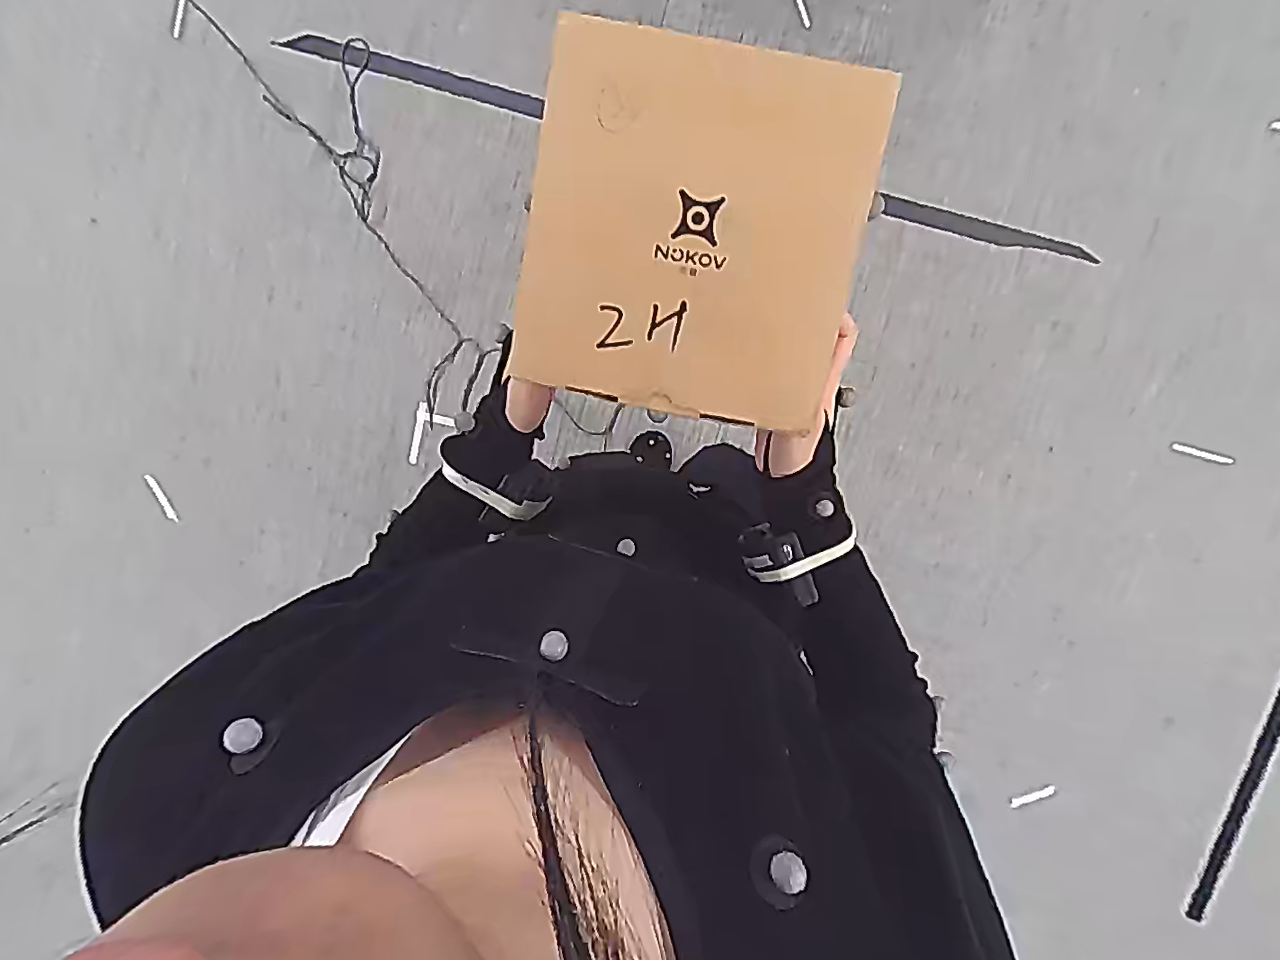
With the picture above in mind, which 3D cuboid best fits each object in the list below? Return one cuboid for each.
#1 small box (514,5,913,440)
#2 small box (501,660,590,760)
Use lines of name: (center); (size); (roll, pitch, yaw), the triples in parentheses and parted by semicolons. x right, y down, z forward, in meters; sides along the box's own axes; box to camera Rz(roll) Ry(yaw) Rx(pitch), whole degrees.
small box: (0.034, -0.135, 0.343); (0.168, 0.176, 0.179); (12, 101, 1)
small box: (-0.246, 0.603, 1.444); (0.179, 0.176, 0.168); (17, 95, 0)
